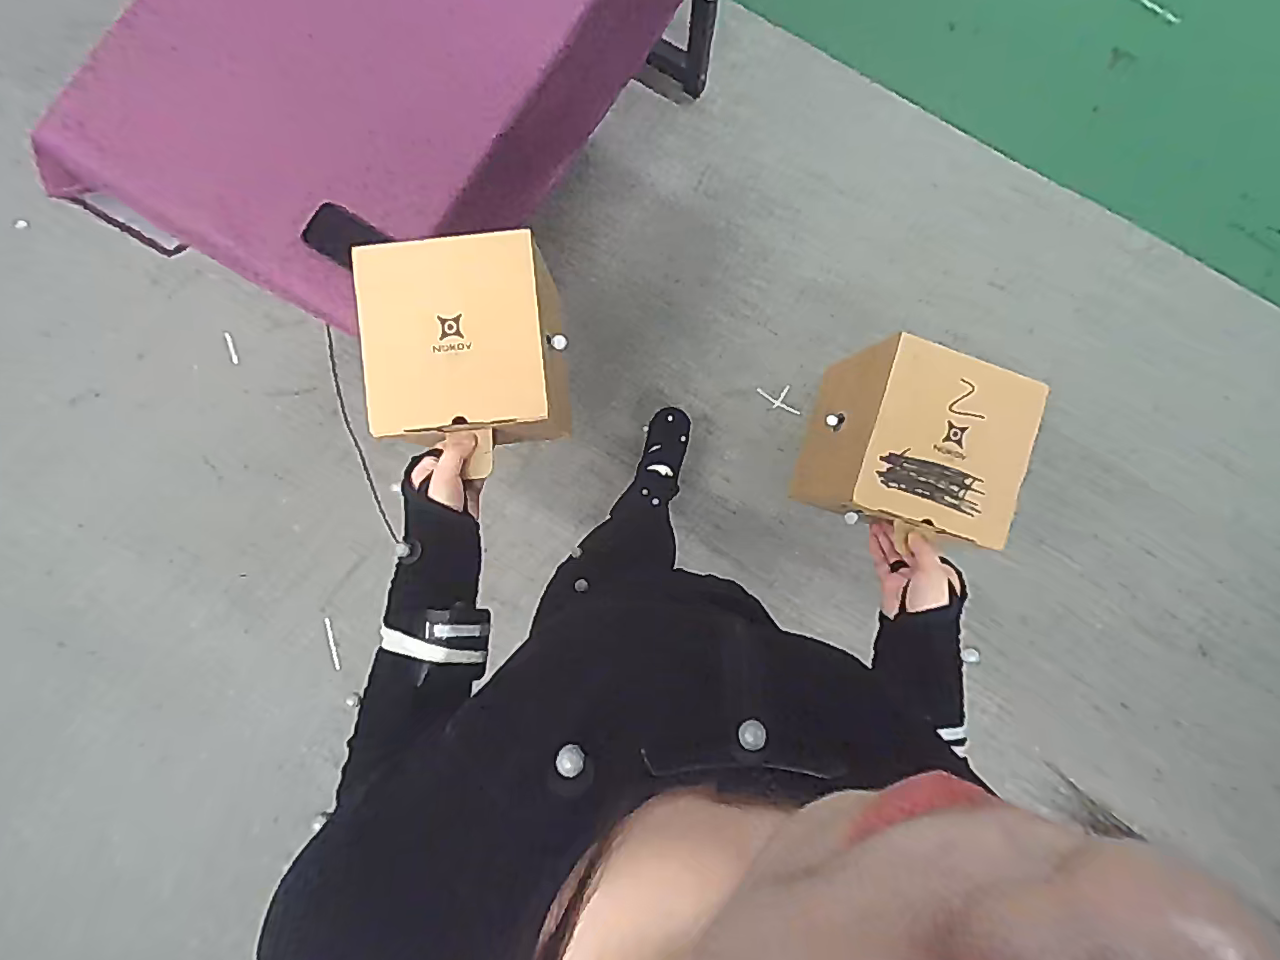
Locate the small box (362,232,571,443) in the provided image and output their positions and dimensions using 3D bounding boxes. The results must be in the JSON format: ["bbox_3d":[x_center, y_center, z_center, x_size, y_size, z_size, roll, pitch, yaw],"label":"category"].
[{"bbox_3d":[-0.170,-0.138,0.580,0.168,0.176,0.179,-5,90,0],"label":"small box"}]
